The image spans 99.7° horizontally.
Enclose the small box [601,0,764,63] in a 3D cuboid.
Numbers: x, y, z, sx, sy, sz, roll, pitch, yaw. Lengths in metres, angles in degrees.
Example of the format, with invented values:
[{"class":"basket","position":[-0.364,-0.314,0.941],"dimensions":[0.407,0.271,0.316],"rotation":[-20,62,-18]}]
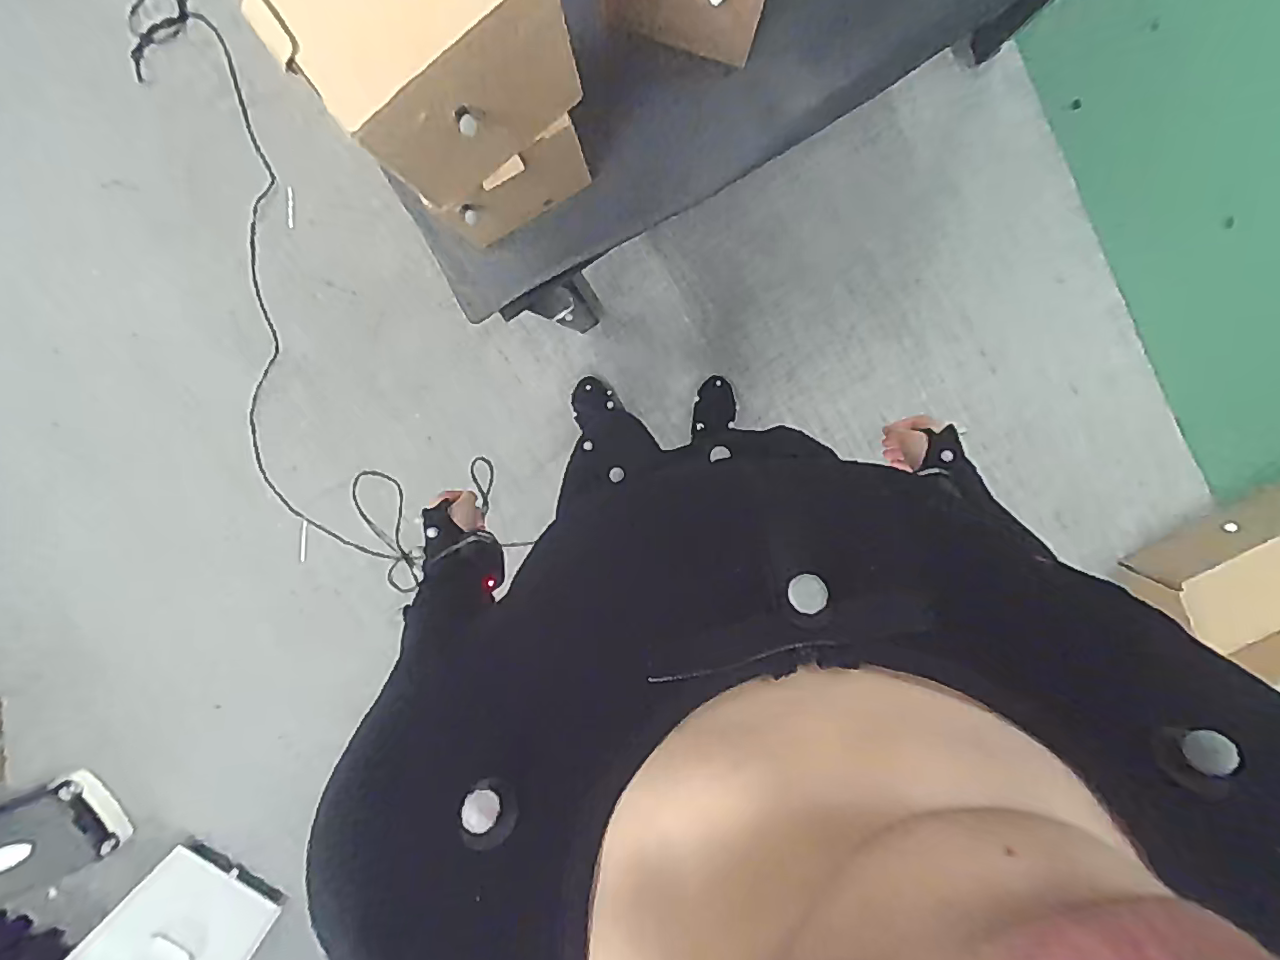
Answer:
[{"class":"small box","position":[0.061,-0.569,0.543],"dimensions":[0.179,0.176,0.168],"rotation":[17,101,-2]}]

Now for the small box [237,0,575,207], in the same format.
[{"class":"small box","position":[-0.173,-0.355,0.426],"dimensions":[0.179,0.176,0.168],"rotation":[-35,97,8]}]
